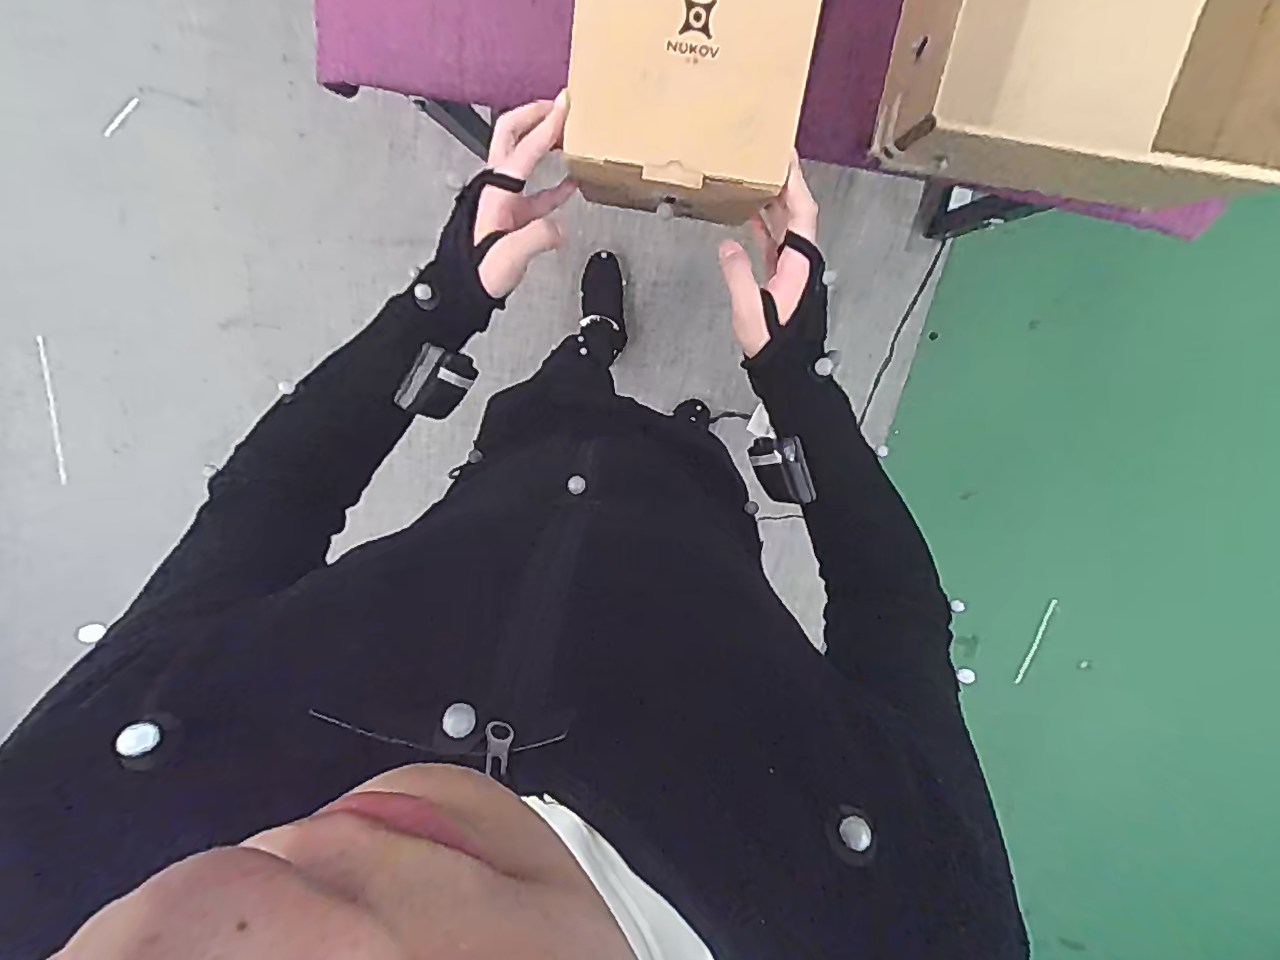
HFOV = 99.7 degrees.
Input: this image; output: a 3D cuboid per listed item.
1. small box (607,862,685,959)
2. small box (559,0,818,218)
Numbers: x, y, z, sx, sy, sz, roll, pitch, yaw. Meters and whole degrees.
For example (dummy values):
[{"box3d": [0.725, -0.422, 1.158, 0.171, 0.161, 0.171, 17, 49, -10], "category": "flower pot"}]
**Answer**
[{"box3d": [0.023, 1.262, 1.572, 0.179, 0.176, 0.168, -22, 103, 8], "category": "small box"}, {"box3d": [0.036, -0.329, 0.444, 0.168, 0.176, 0.179, 8, 107, -2], "category": "small box"}]
